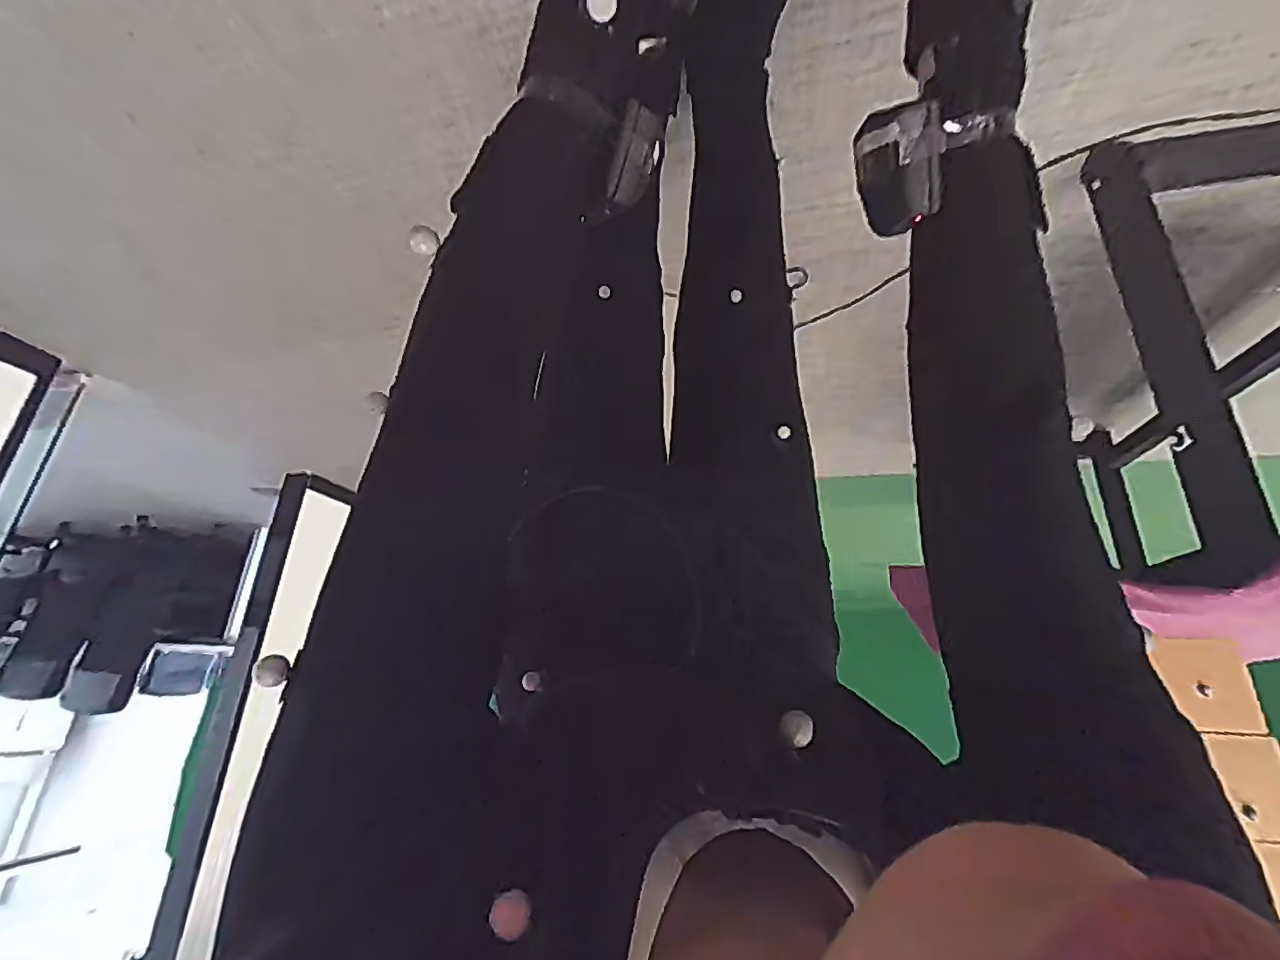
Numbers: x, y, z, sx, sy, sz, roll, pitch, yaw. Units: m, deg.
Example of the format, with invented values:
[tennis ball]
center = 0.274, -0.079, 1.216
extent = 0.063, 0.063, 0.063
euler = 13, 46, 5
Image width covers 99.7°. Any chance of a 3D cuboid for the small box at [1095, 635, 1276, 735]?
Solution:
[small box]
center = 1.047, 0.399, 1.061
extent = 0.179, 0.176, 0.168
euler = -2, 158, 12
